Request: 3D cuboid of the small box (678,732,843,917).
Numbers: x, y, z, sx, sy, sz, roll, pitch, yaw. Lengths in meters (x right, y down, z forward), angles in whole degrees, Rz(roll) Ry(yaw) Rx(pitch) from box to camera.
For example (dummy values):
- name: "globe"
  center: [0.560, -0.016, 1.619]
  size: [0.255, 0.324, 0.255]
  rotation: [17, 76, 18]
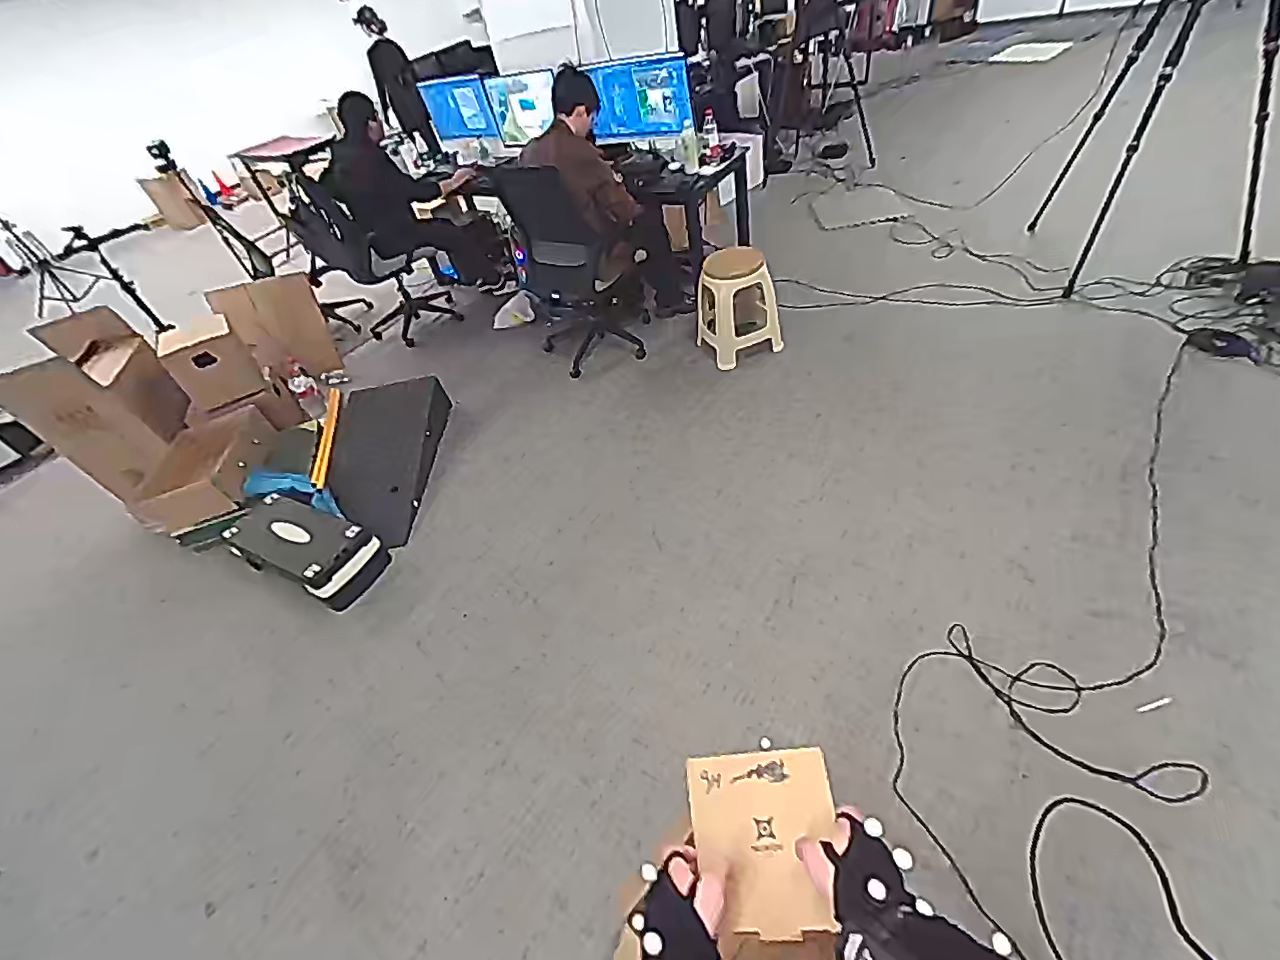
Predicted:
- name: "small box"
  center: [0.157, 0.434, 0.704]
  size: [0.168, 0.176, 0.179]
  rotation: [-14, 62, 11]
